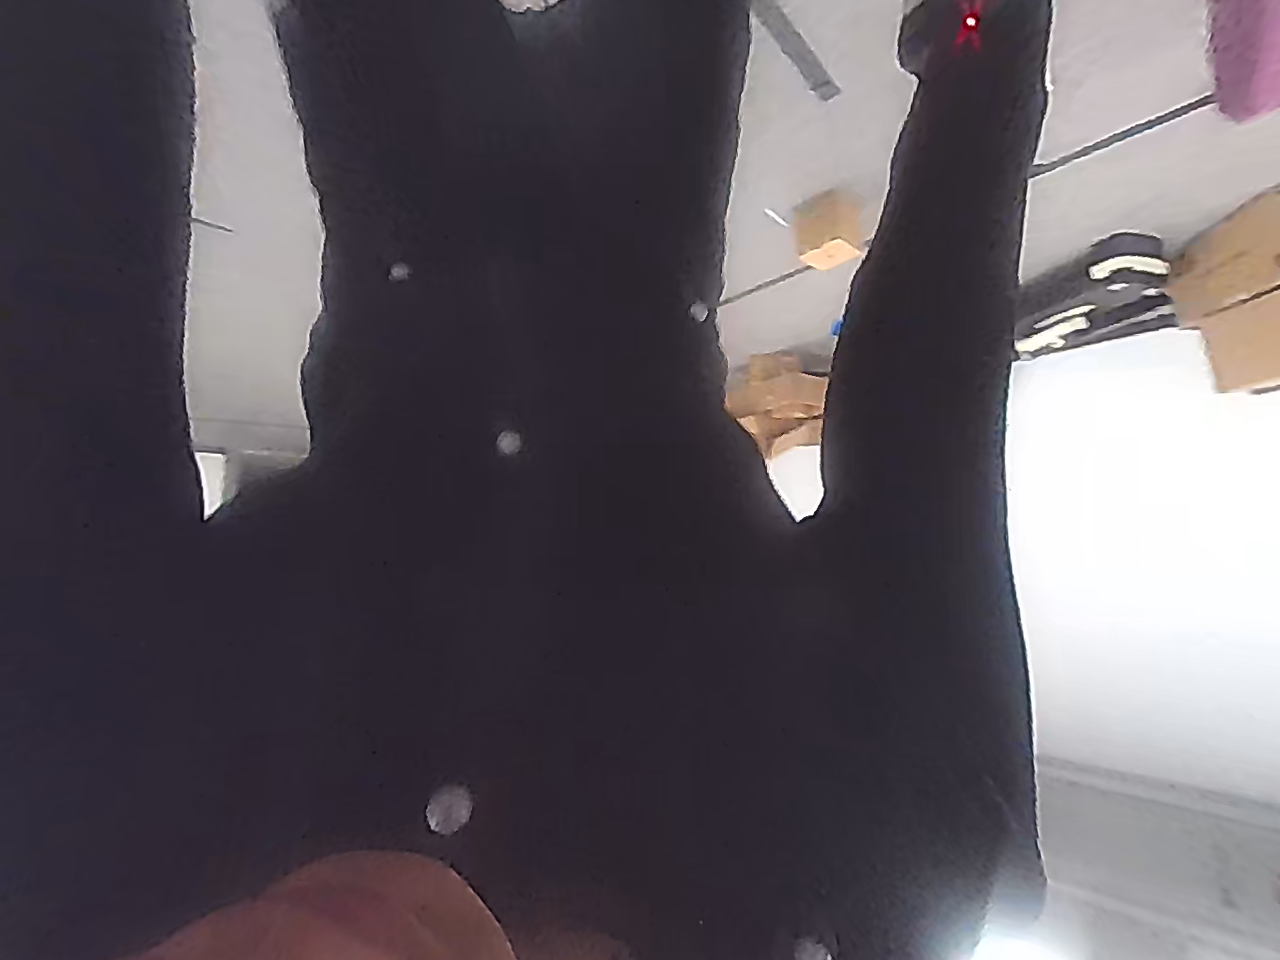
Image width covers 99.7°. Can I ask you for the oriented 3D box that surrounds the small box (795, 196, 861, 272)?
[{"bbox_3d":[0.671,-0.877,1.932,0.179,0.176,0.168,6,170,-42],"label":"small box"}]
